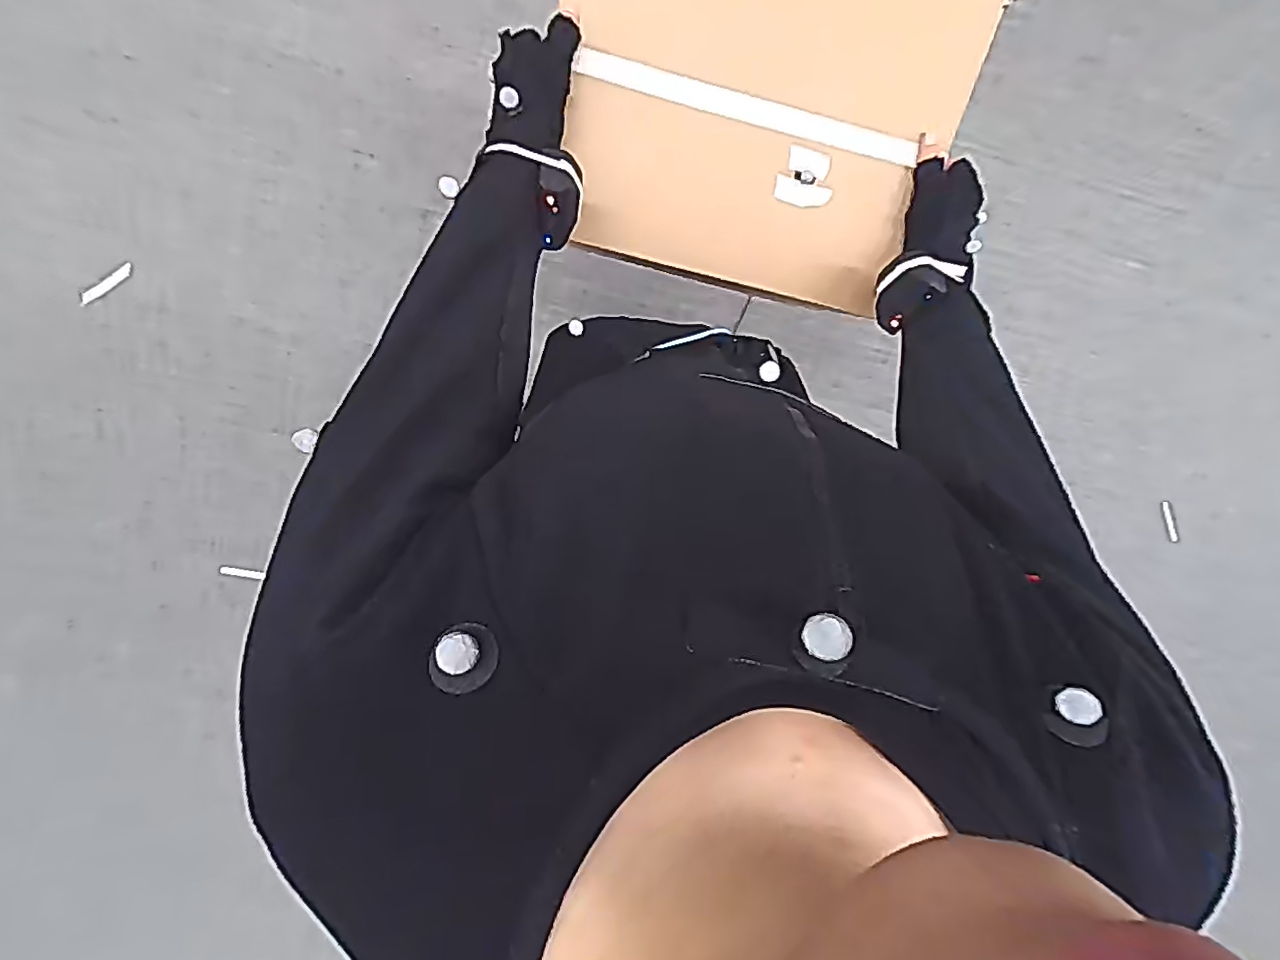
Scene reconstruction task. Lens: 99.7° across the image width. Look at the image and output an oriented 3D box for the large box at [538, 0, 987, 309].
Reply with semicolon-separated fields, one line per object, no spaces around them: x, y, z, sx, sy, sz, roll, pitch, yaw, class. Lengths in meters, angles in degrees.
0.106;-0.424;0.689;0.408;0.320;0.320;12;111;-7;large box
